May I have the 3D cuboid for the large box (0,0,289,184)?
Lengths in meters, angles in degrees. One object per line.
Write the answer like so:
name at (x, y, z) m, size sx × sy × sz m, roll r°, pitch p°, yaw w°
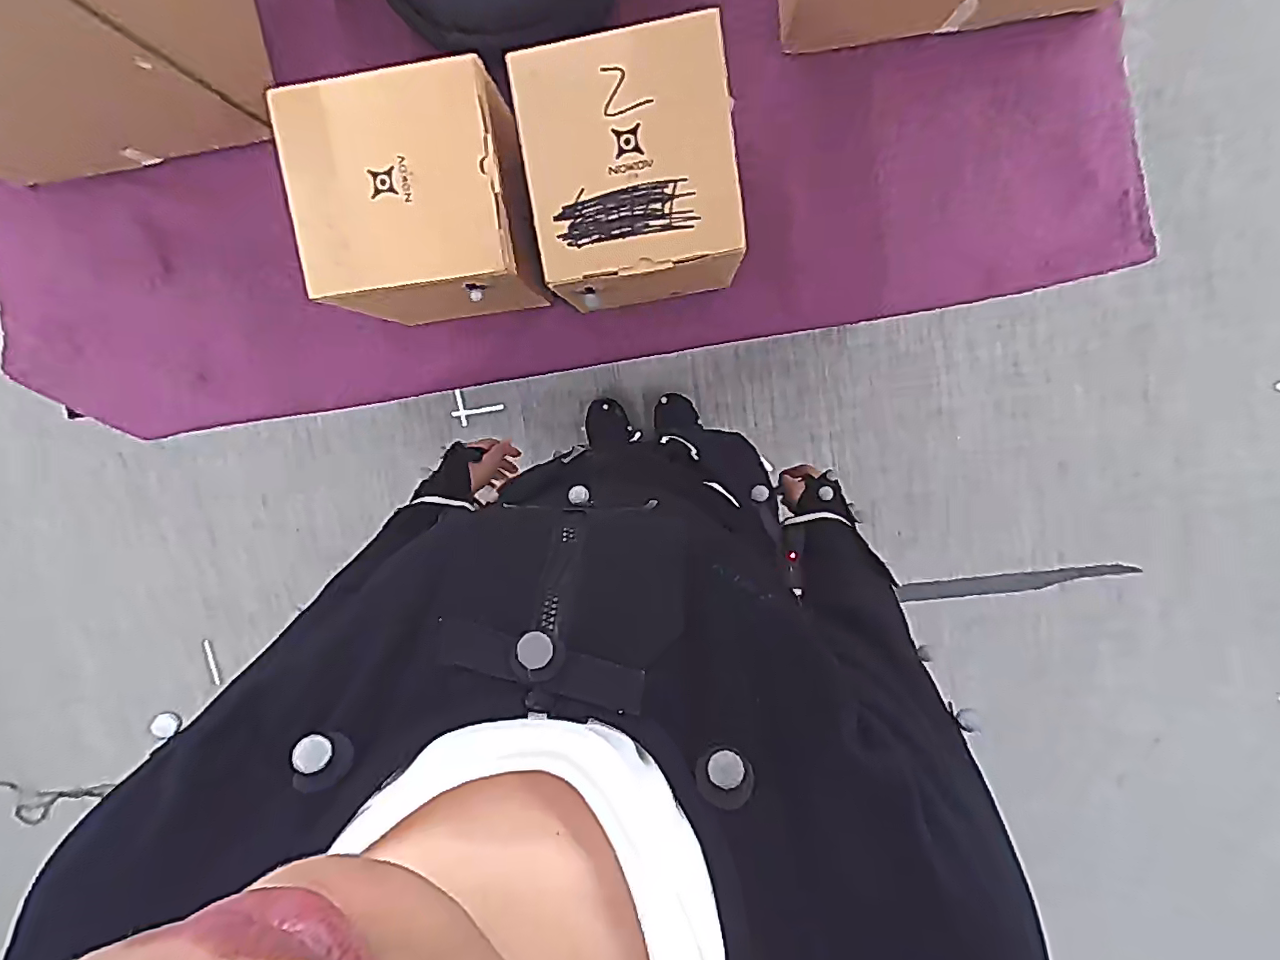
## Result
large box at (-0.568, -0.517, 0.420) m, size 0.320 × 0.320 × 0.408 m, roll -10°, pitch 102°, yaw 4°
